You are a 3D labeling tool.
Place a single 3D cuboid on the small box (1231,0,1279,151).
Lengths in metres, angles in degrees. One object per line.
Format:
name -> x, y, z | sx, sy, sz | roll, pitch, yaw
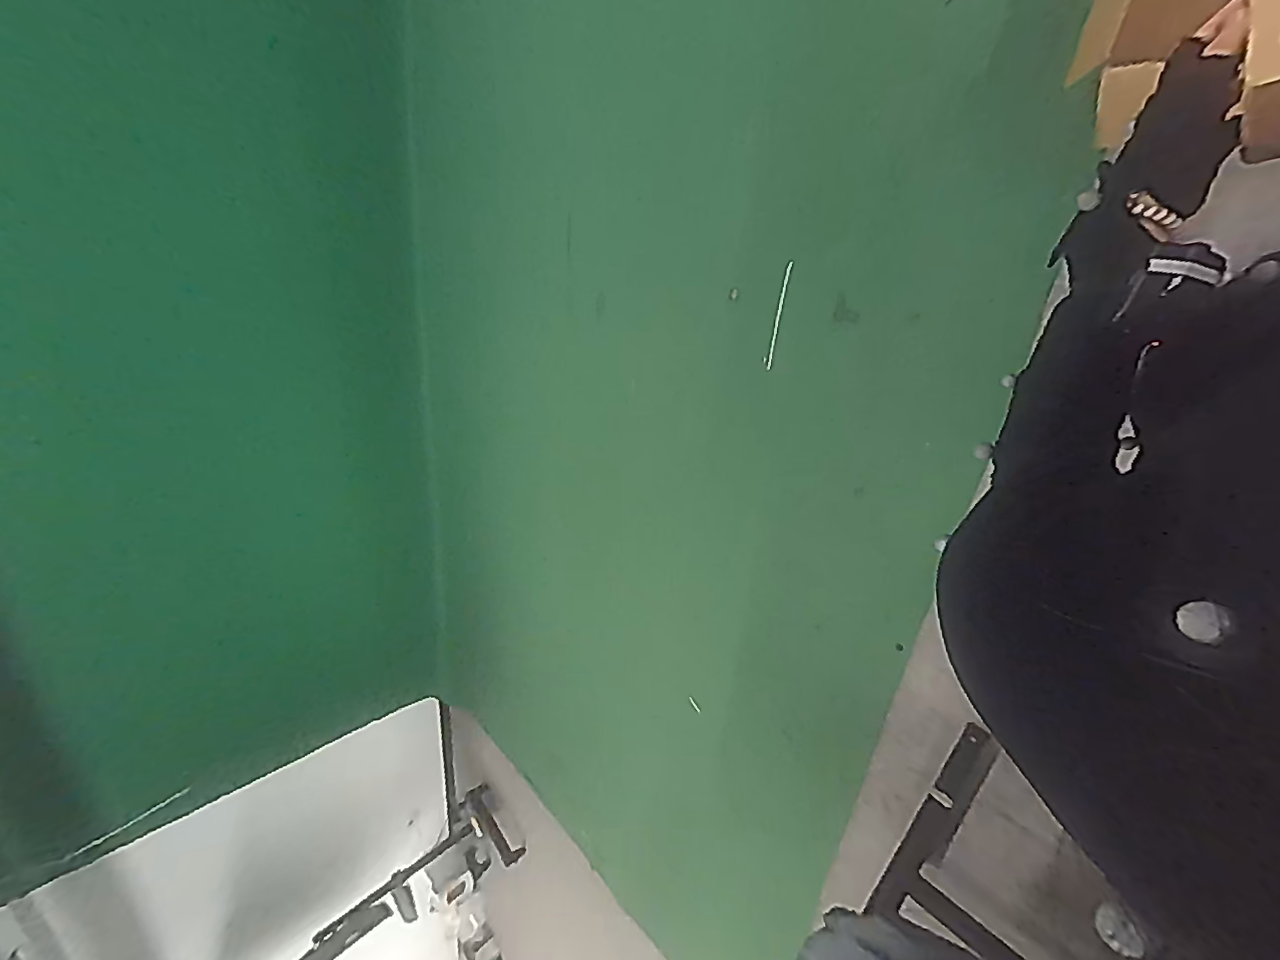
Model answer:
small box -> 0.473, -0.324, 0.307 | 0.179, 0.176, 0.168 | 4, 99, 47
